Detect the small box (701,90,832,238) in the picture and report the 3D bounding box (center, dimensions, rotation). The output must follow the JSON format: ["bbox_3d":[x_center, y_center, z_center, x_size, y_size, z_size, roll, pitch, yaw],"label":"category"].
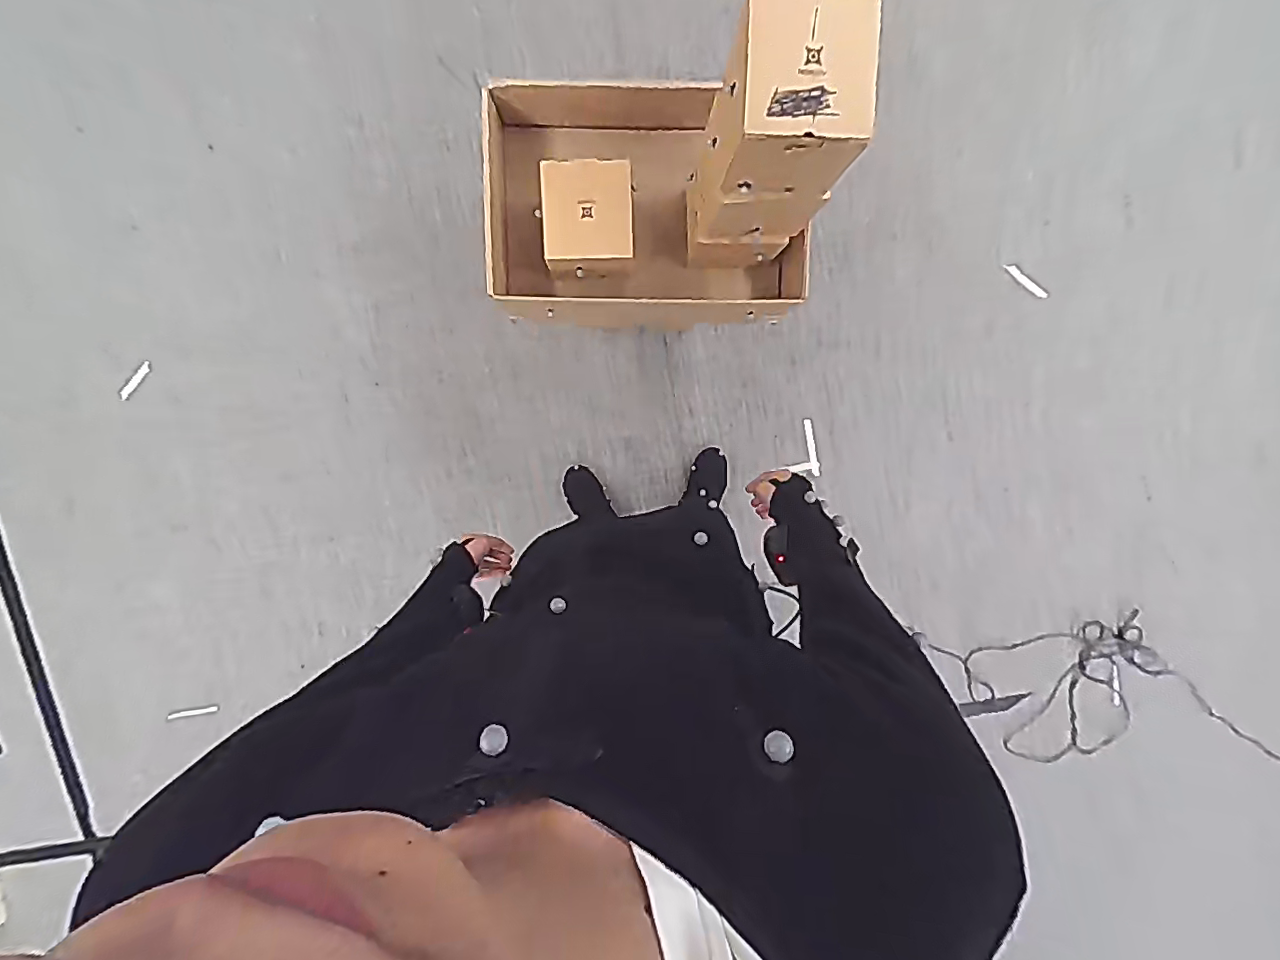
[{"bbox_3d":[0.203,-0.515,0.901,0.179,0.176,0.168,-3,96,-3],"label":"small box"}]

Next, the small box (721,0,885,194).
[{"bbox_3d":[0.208,-0.513,0.736,0.168,0.176,0.179,1,95,-2],"label":"small box"}]

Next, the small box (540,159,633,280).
[{"bbox_3d":[-0.098,-0.499,1.060,0.168,0.176,0.179,-2,96,-2],"label":"small box"}]
